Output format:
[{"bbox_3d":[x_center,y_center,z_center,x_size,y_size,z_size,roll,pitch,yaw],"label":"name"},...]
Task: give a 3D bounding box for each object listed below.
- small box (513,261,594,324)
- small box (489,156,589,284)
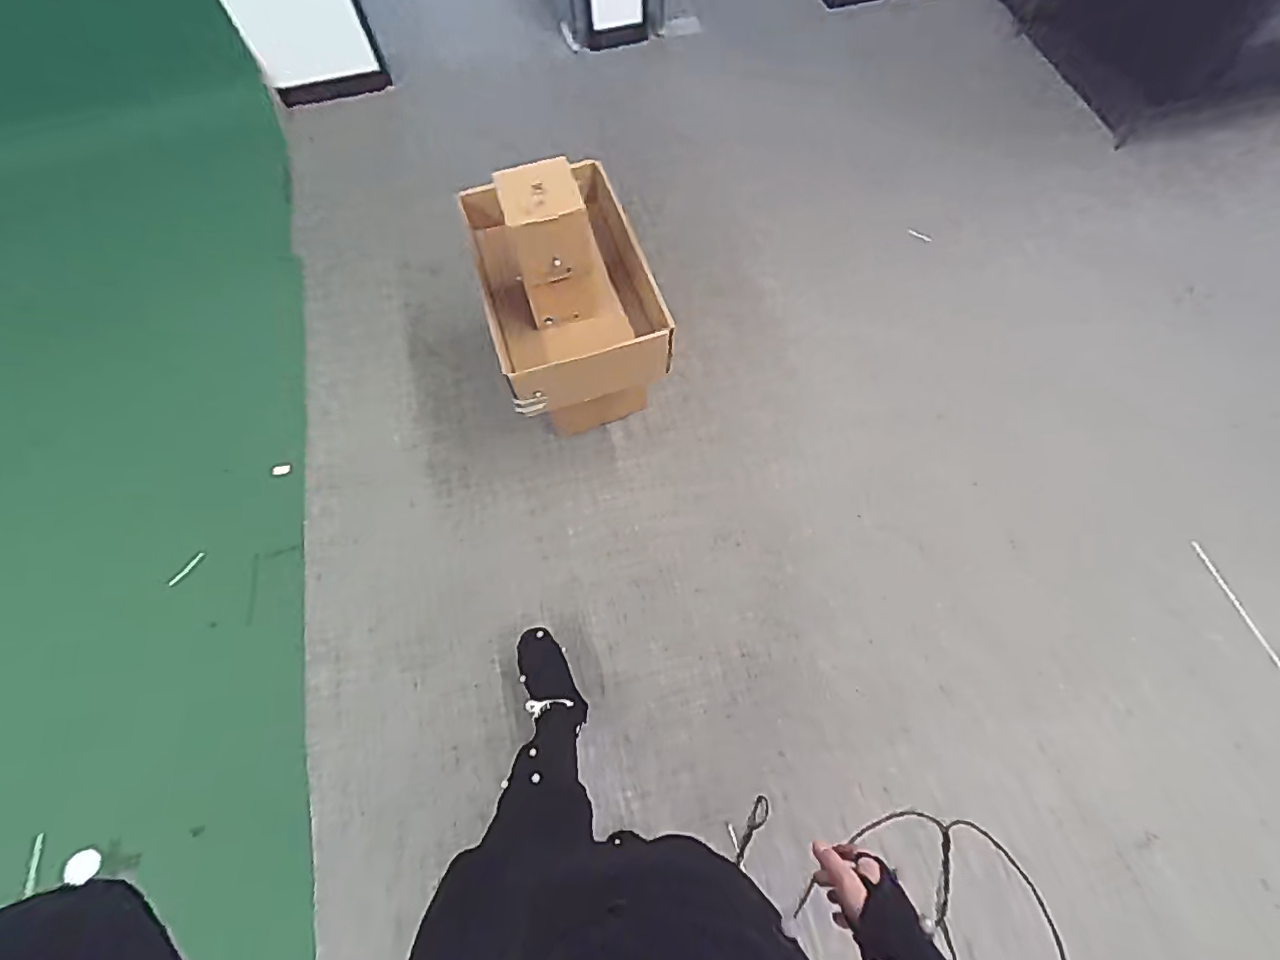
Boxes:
[{"bbox_3d":[-0.219,-0.512,1.350,0.168,0.176,0.179,-16,66,-6],"label":"small box"},{"bbox_3d":[-0.218,-0.570,1.195,0.168,0.176,0.179,-17,67,-6],"label":"small box"}]
